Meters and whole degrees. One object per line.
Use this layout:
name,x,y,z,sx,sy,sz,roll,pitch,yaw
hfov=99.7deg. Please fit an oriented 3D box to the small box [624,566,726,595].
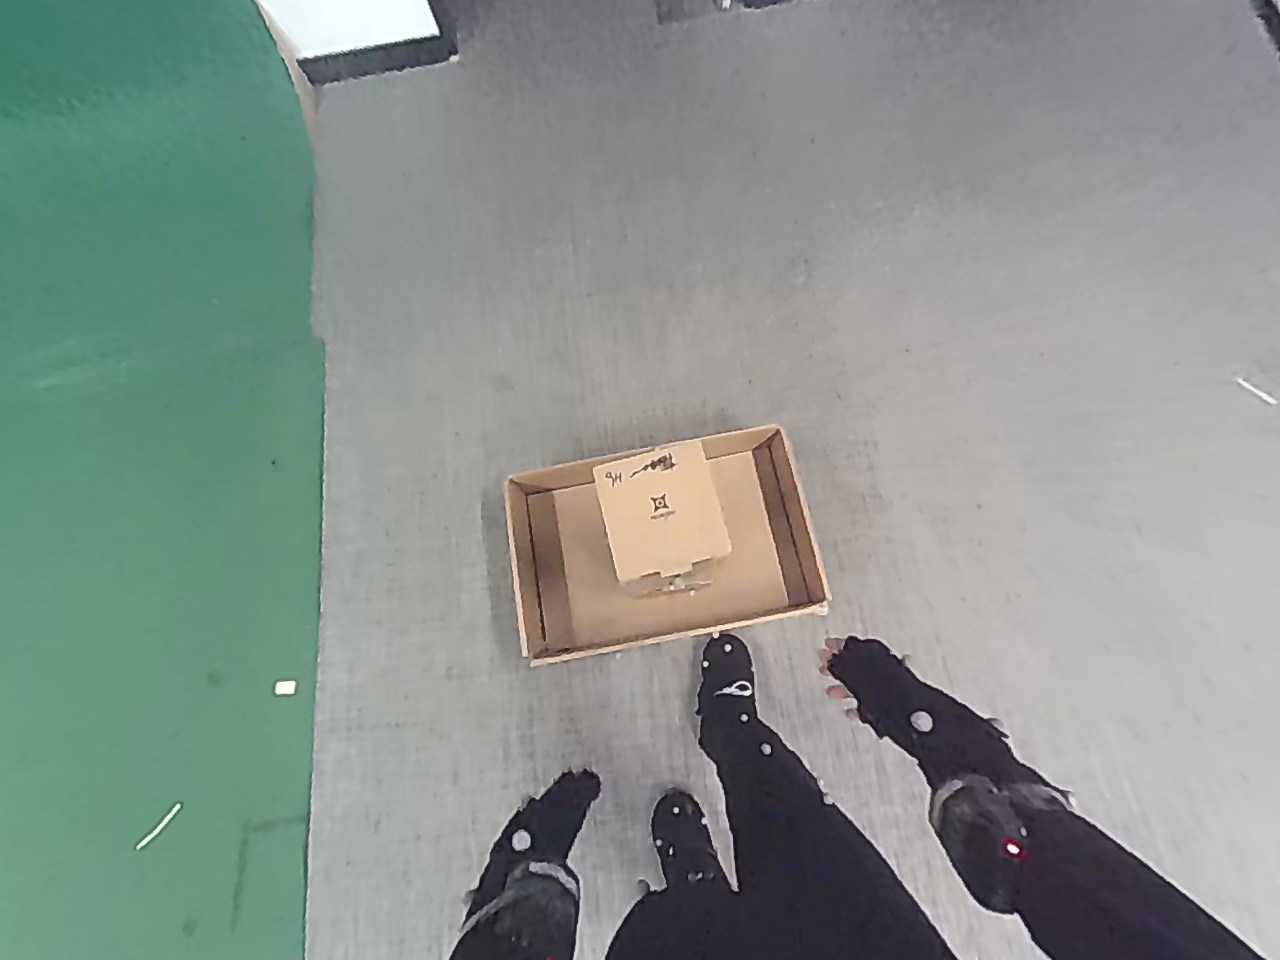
small box,0.051,0.115,1.000,0.179,0.176,0.168,-11,74,2

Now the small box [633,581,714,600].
small box,0.063,0.159,1.157,0.168,0.176,0.179,-9,72,1

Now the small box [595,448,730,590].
small box,0.037,0.070,0.844,0.168,0.176,0.179,-13,74,1
